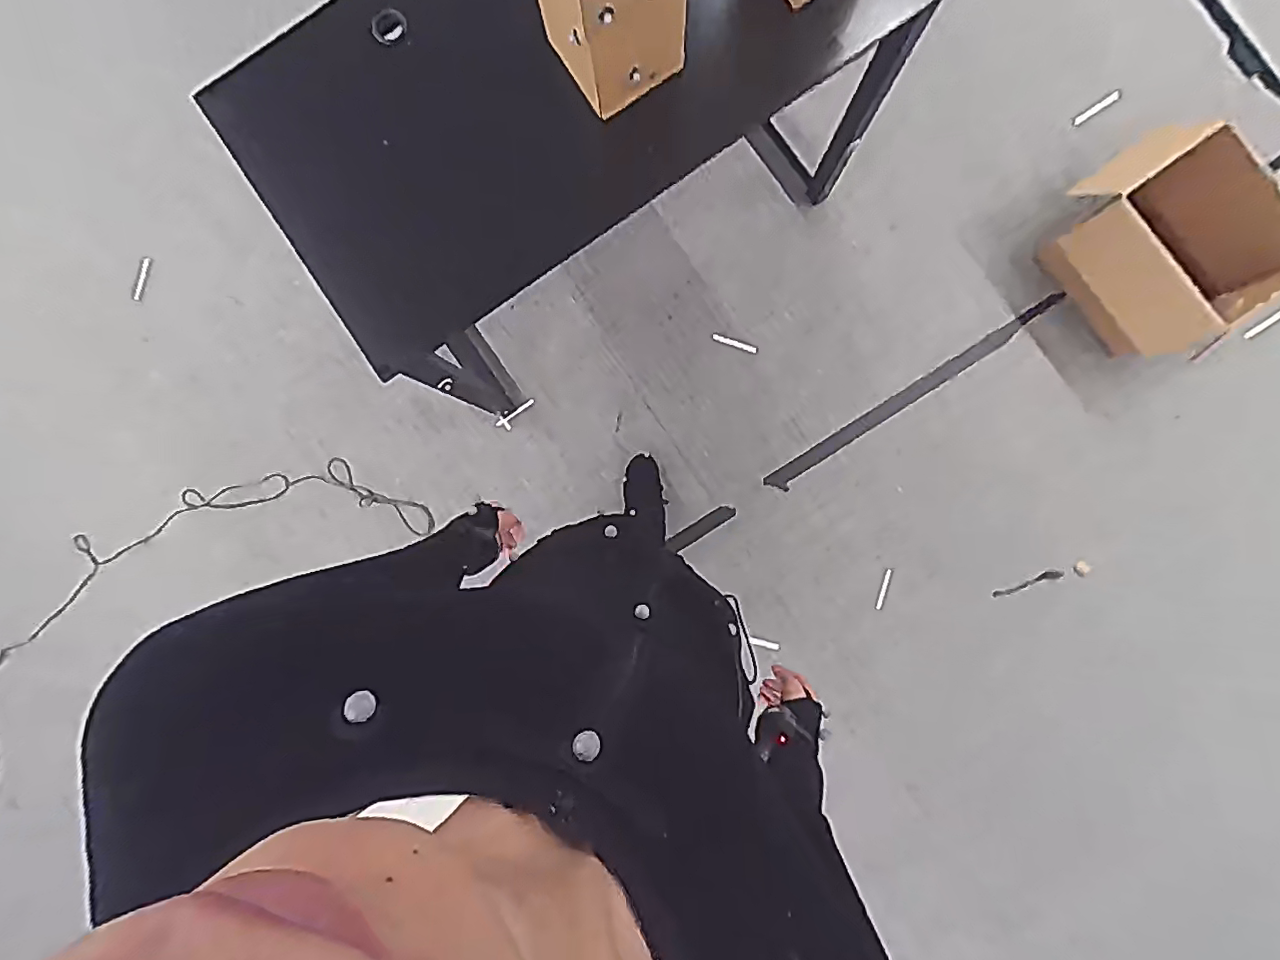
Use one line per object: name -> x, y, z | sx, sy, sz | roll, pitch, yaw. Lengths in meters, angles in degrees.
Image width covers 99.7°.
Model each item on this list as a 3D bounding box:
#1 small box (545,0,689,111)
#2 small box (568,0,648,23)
small box -> -0.042, -0.726, 0.827 | 0.168, 0.176, 0.179 | -33, 89, 1
small box -> -0.041, -0.721, 0.663 | 0.168, 0.176, 0.179 | -28, 88, 1
